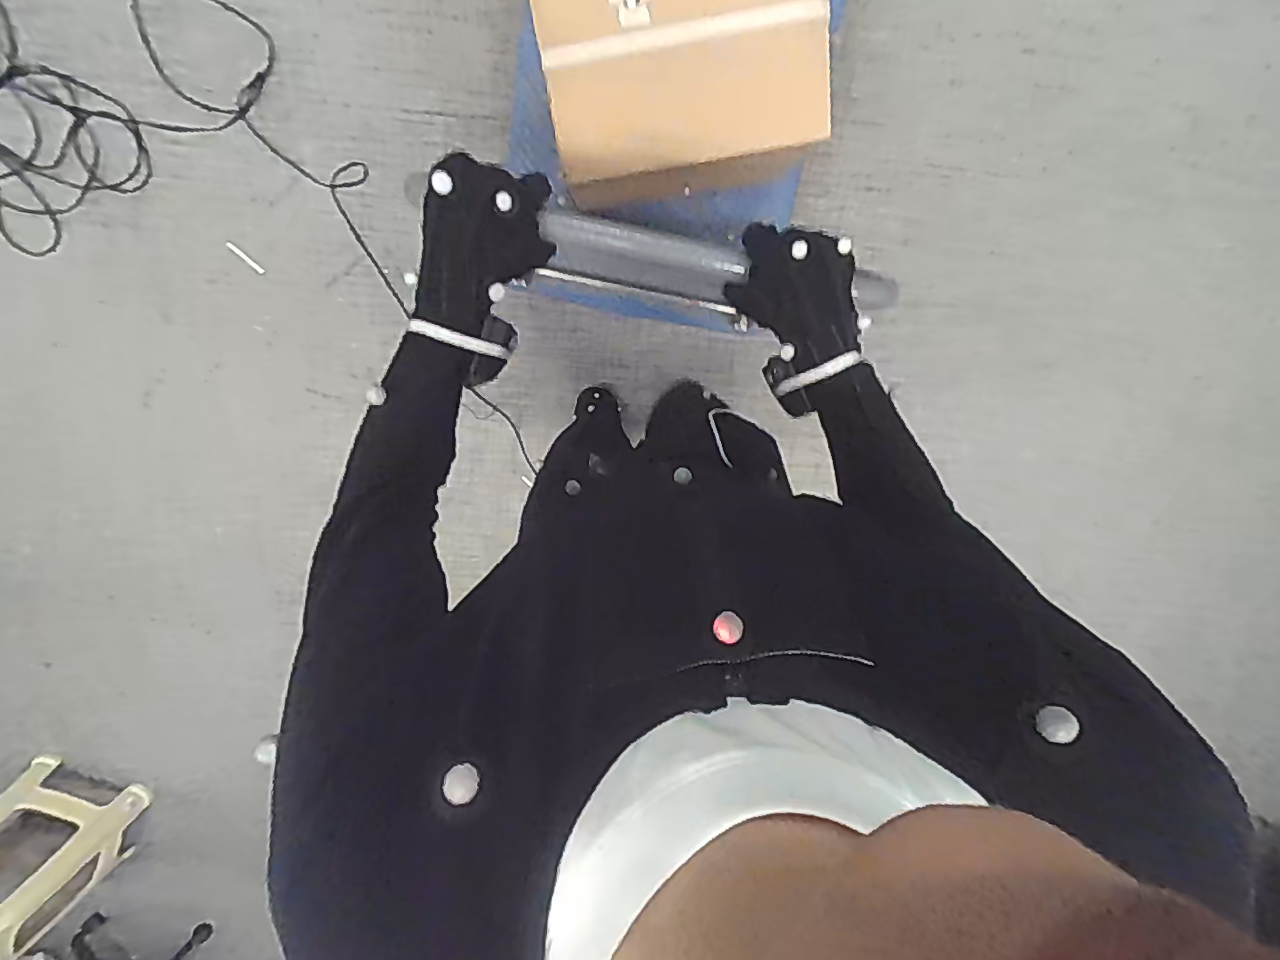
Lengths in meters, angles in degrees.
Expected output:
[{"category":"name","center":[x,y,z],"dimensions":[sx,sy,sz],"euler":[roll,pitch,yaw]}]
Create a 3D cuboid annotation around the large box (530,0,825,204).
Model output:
[{"category":"large box","center":[0.055,-0.676,0.898],"dimensions":[0.408,0.320,0.320],"euler":[-9,109,2]}]
